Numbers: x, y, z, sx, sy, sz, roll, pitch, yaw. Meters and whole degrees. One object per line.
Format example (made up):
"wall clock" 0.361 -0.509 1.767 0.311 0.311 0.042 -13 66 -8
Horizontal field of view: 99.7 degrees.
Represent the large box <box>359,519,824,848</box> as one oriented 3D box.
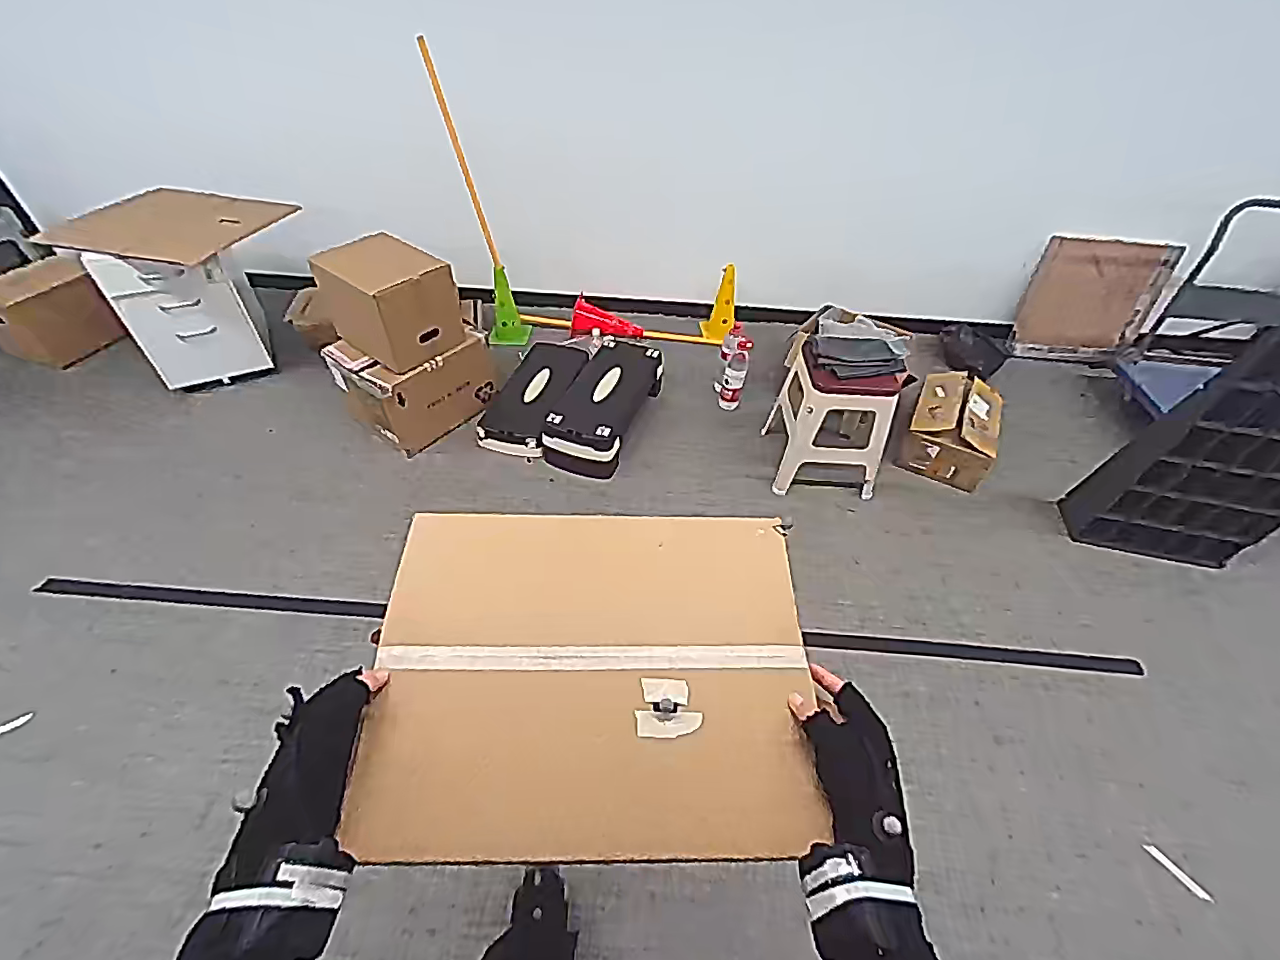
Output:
"large box" -0.049 0.257 0.661 0.408 0.320 0.320 1 56 -3
